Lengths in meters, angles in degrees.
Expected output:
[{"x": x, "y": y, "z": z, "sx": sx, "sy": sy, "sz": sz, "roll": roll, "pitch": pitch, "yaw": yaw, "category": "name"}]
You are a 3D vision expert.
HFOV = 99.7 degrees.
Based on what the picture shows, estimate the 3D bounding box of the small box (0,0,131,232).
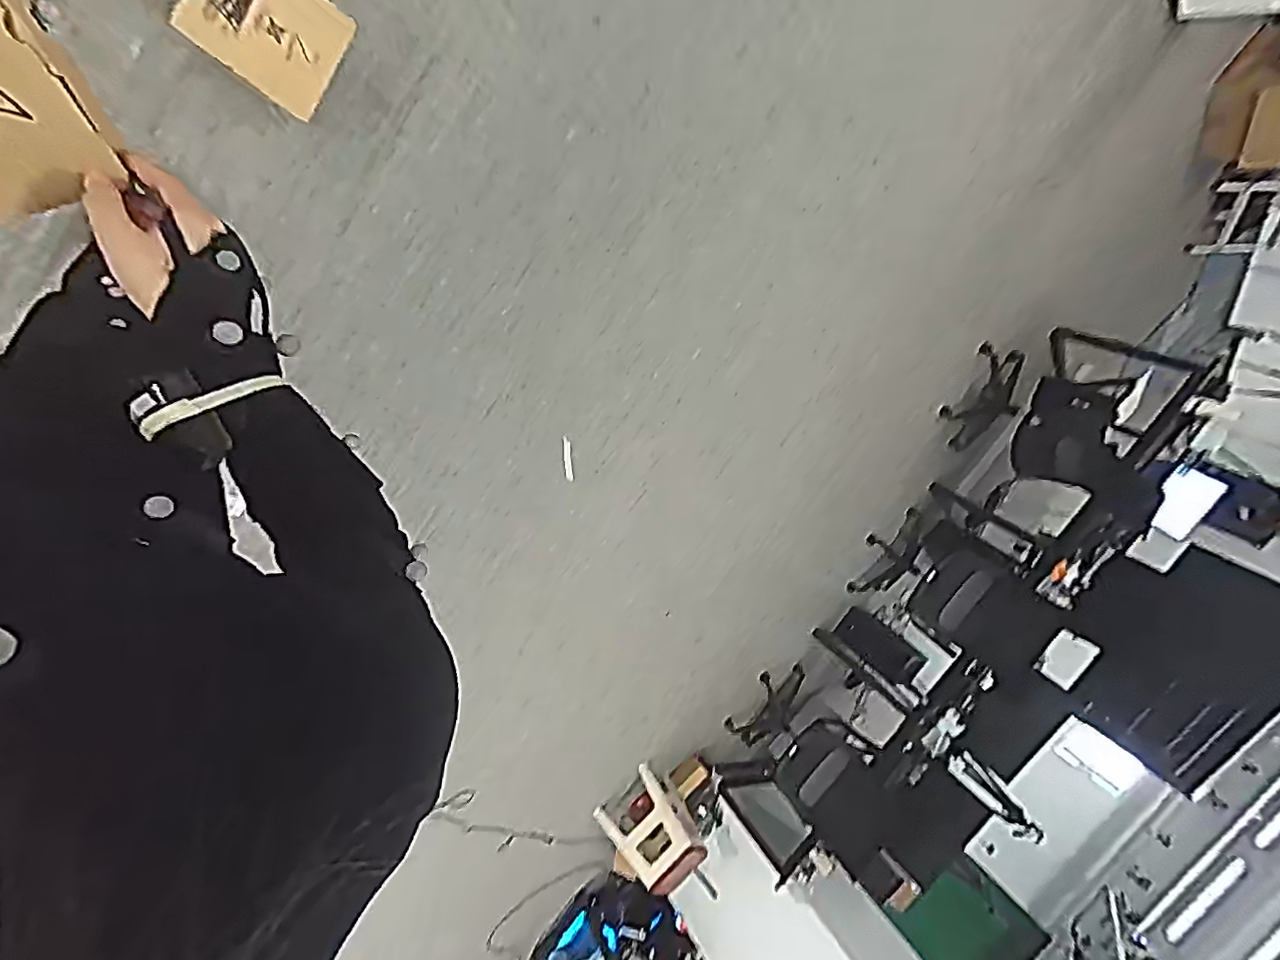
[{"x": -0.454, "y": -0.247, "z": 0.313, "sx": 0.179, "sy": 0.176, "sz": 0.168, "roll": -31, "pitch": 144, "yaw": -22, "category": "small box"}]
